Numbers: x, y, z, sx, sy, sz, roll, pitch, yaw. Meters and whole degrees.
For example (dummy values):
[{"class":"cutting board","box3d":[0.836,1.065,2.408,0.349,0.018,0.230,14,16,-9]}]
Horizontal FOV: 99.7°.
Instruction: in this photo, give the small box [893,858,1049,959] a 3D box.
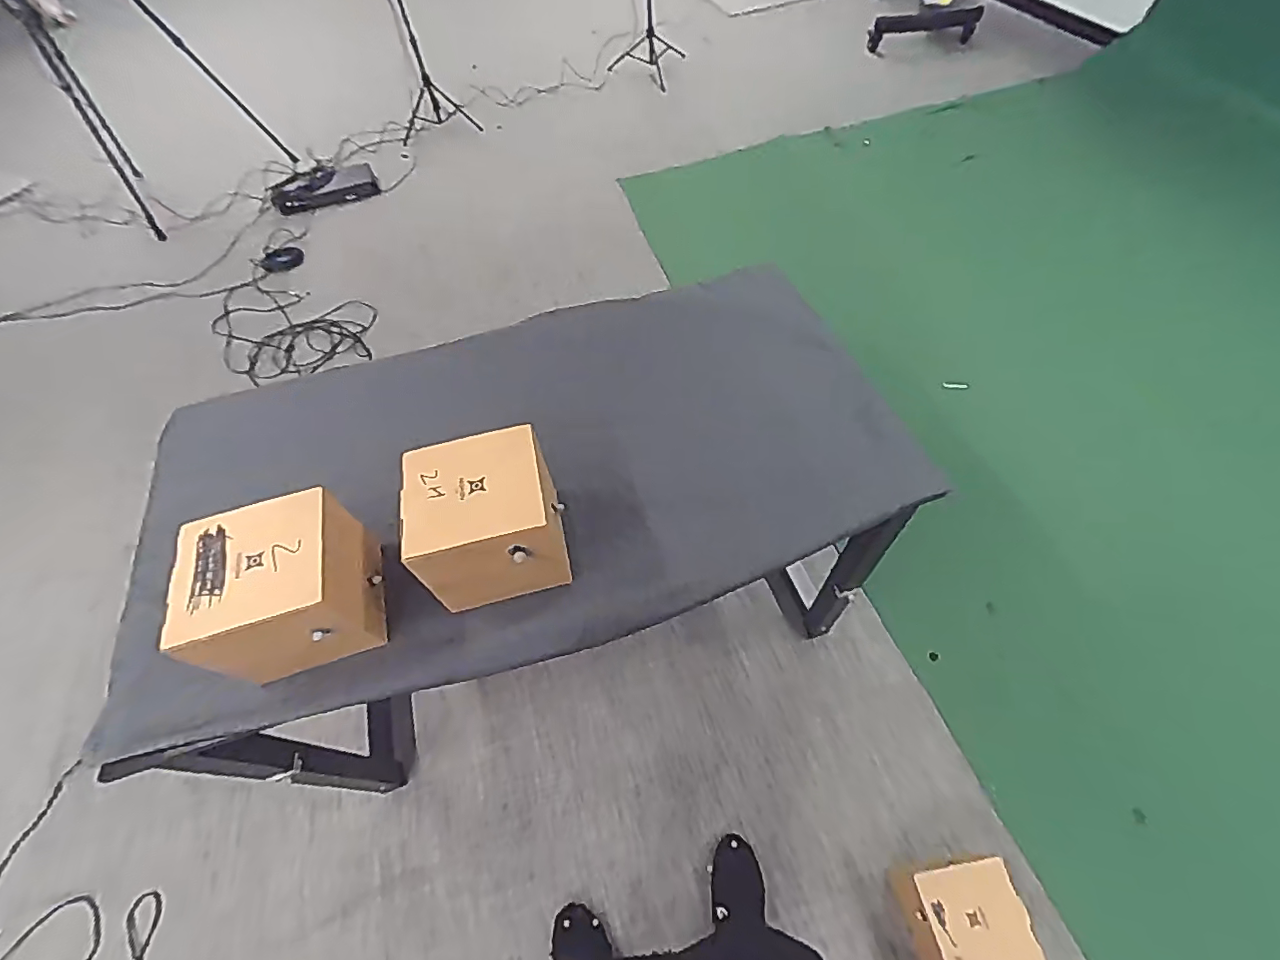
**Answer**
[{"class":"small box","box3d":[0.622,0.841,1.036,0.179,0.176,0.168,-10,57,-2]}]

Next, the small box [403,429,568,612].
[{"class":"small box","box3d":[-0.202,0.060,0.742,0.179,0.176,0.168,-14,55,-3]}]
